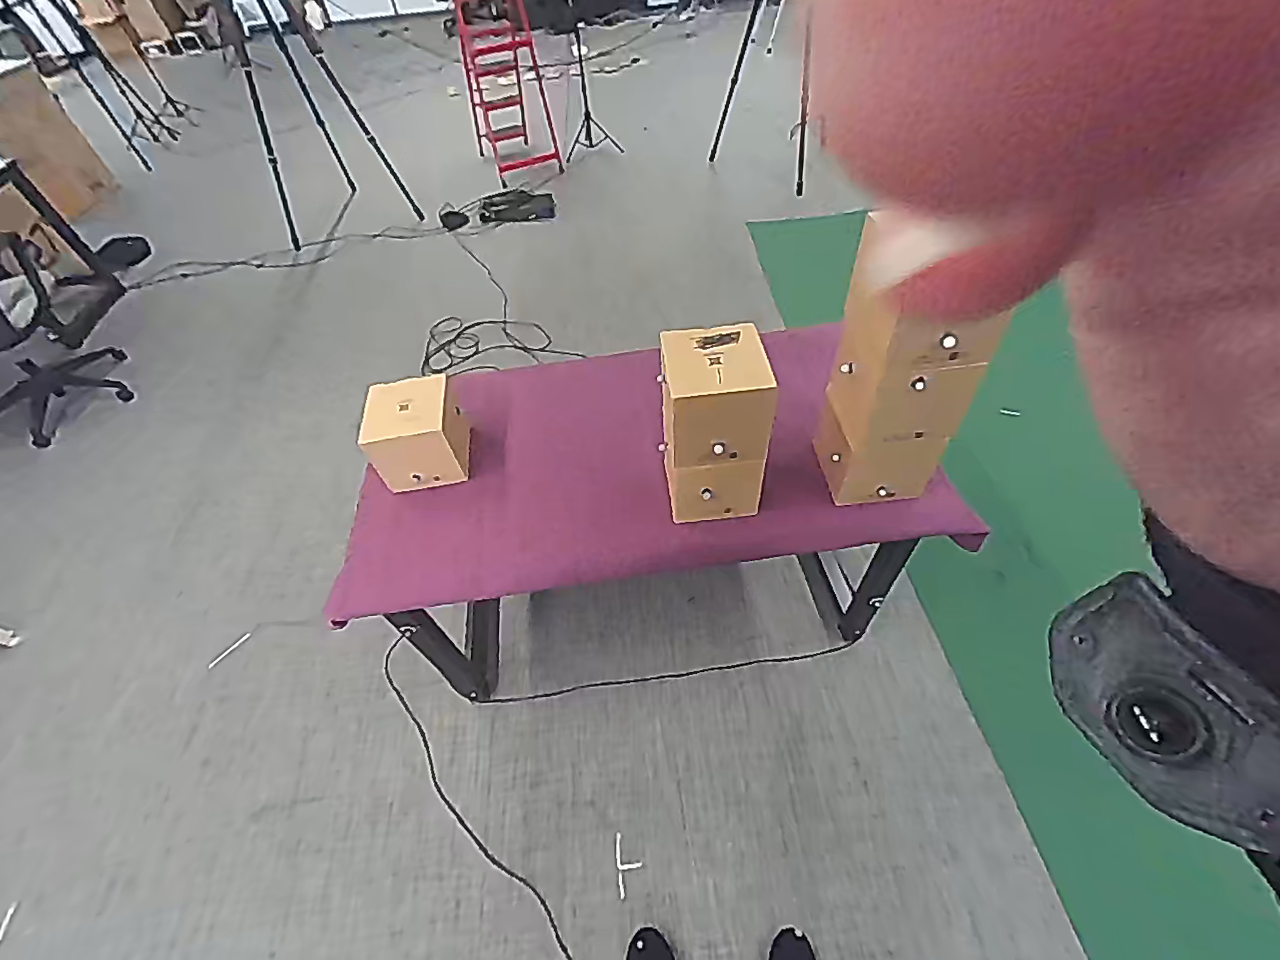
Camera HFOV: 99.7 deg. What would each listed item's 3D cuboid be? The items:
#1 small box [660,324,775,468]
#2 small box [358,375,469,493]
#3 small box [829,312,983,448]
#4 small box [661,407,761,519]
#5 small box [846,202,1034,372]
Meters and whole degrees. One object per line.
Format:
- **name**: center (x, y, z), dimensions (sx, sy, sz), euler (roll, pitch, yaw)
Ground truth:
- **small box**: center (0.125, -0.144, 0.937), dimensions (0.168, 0.176, 0.179), euler (-6, 50, 1)
- **small box**: center (-0.476, -0.098, 1.165), dimensions (0.168, 0.176, 0.179), euler (-10, 52, -3)
- **small box**: center (0.440, -0.178, 0.931), dimensions (0.168, 0.176, 0.179), euler (-6, 50, 2)
- **small box**: center (0.136, -0.036, 1.061), dimensions (0.168, 0.176, 0.179), euler (-7, 49, 0)
- **small box**: center (0.425, -0.285, 0.807), dimensions (0.168, 0.176, 0.179), euler (-7, 51, 2)
